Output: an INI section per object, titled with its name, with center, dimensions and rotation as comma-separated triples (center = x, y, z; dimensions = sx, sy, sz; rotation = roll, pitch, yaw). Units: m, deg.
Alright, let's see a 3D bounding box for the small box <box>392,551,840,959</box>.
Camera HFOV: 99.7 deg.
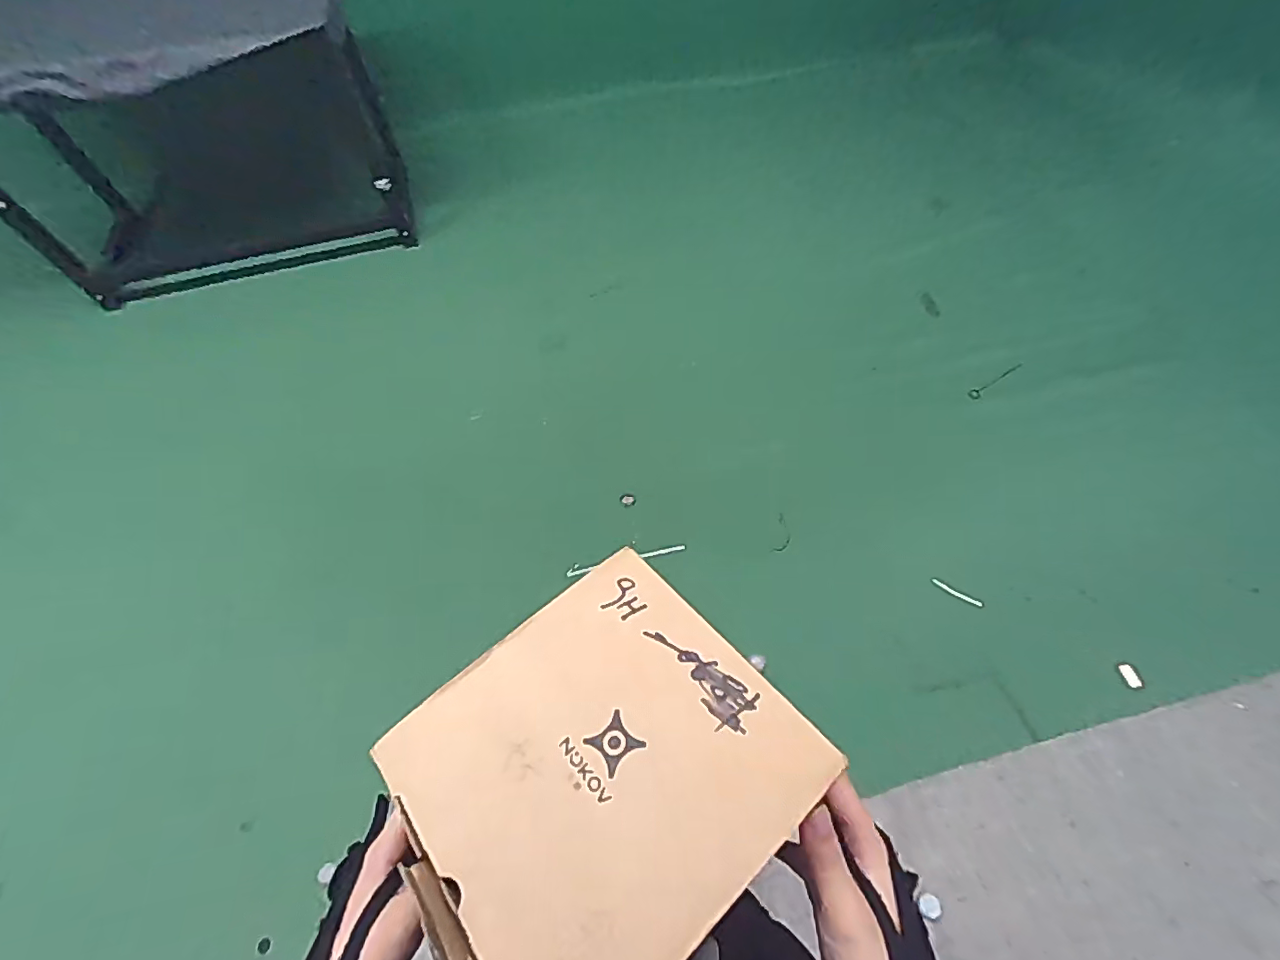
[small box]
center = -0.009, 0.186, 0.336
dimensions = 0.179, 0.176, 0.168
rotation = -36, 57, -20
